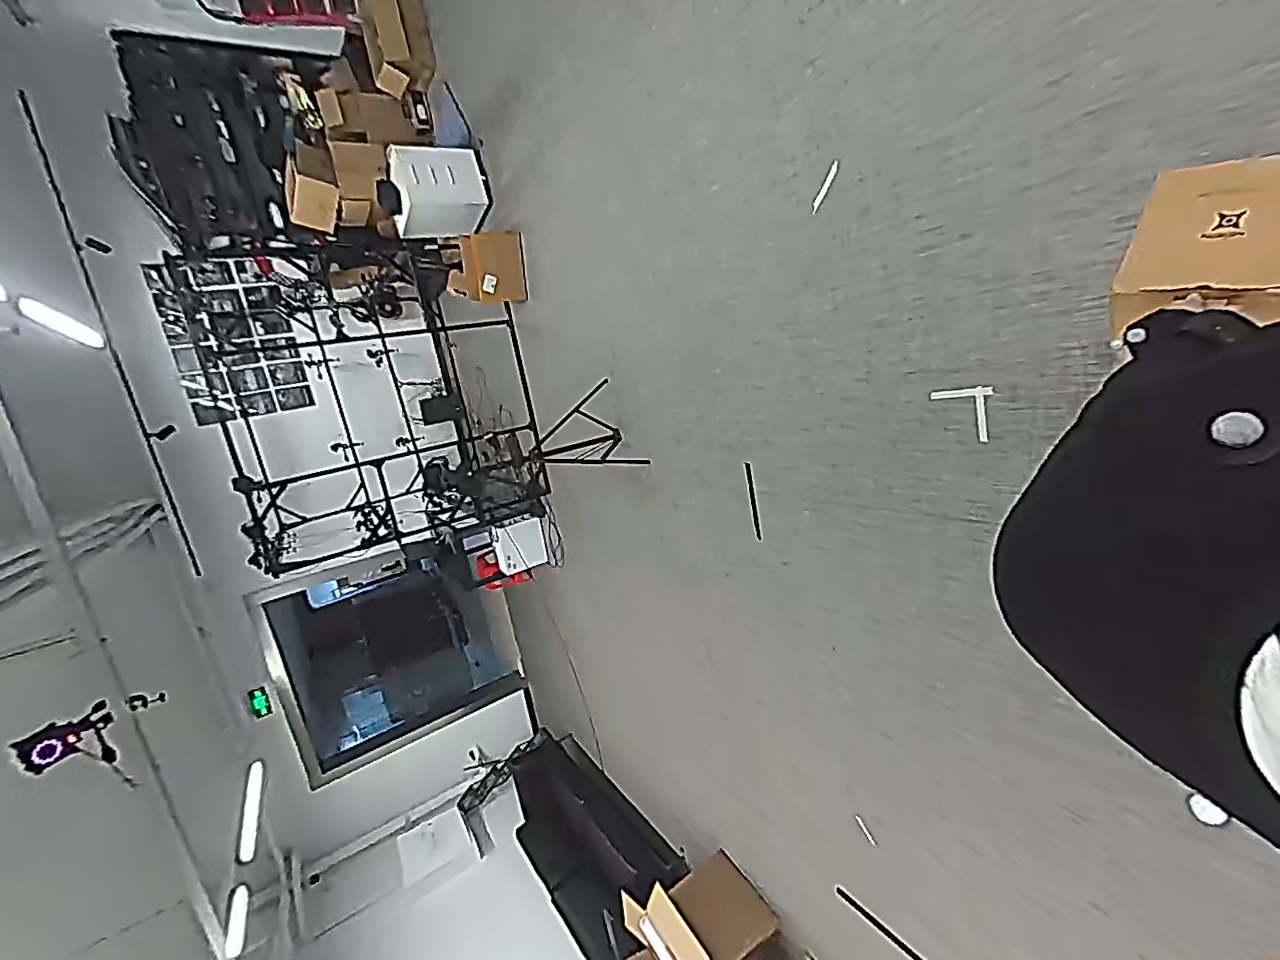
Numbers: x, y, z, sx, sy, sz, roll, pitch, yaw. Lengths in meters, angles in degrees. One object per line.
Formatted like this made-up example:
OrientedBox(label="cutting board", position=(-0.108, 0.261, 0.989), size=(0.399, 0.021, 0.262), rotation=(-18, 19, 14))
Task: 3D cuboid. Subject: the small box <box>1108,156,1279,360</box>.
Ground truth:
OrientedBox(label="small box", position=(0.729, -0.268, 0.681), size=(0.168, 0.176, 0.179), rotation=(21, 85, 46))
